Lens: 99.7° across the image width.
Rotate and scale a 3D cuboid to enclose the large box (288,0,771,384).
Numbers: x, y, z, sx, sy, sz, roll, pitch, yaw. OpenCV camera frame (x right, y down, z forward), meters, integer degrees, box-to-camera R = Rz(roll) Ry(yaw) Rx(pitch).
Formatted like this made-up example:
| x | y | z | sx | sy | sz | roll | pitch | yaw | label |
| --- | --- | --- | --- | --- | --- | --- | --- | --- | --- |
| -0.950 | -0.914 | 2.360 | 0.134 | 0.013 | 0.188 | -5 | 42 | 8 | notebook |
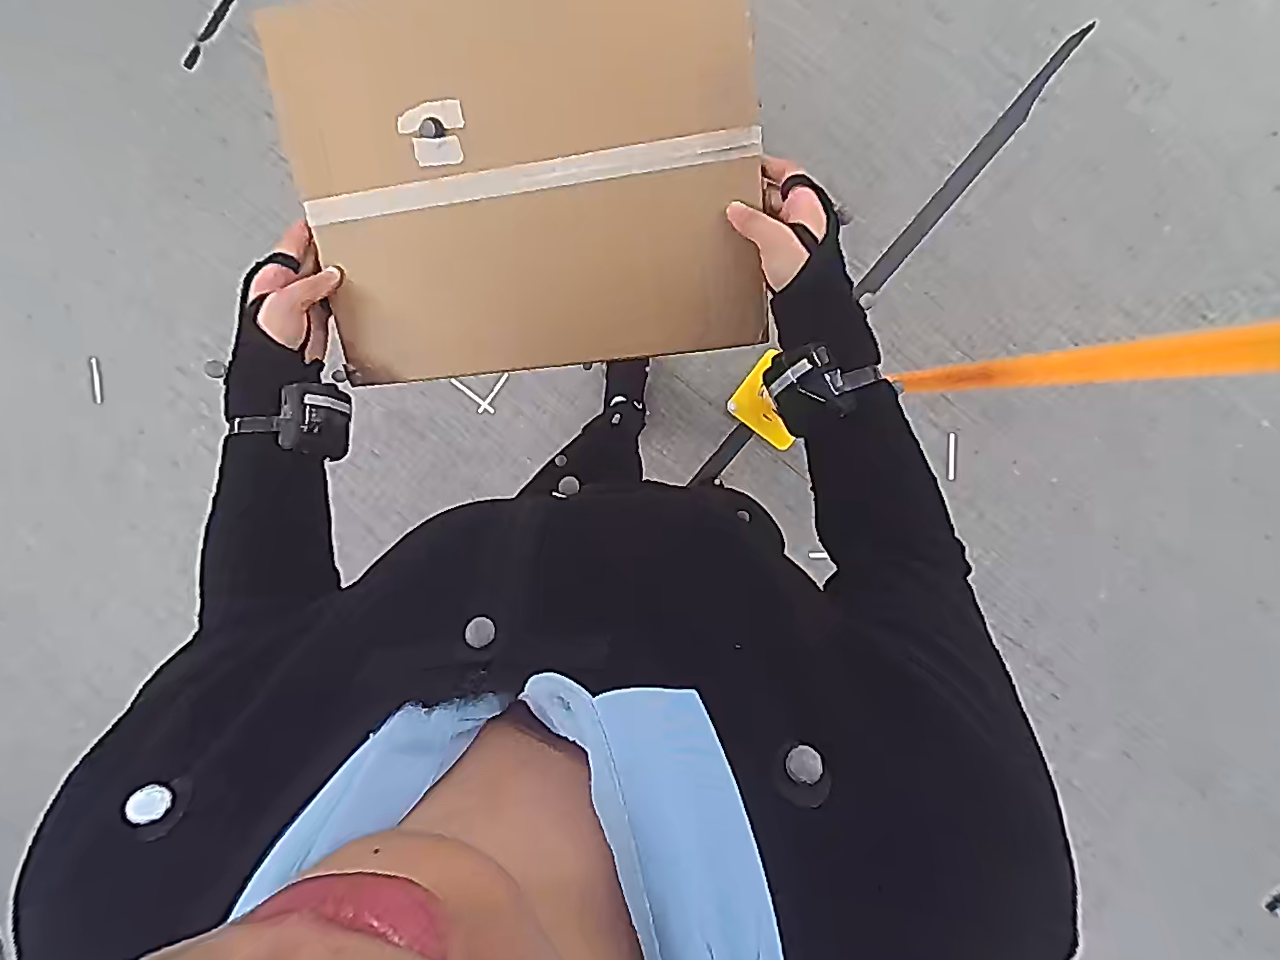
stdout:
| x | y | z | sx | sy | sz | roll | pitch | yaw | label |
| --- | --- | --- | --- | --- | --- | --- | --- | --- | --- |
| -0.077 | -0.303 | 0.622 | 0.408 | 0.320 | 0.320 | -5 | 104 | 9 | large box |
